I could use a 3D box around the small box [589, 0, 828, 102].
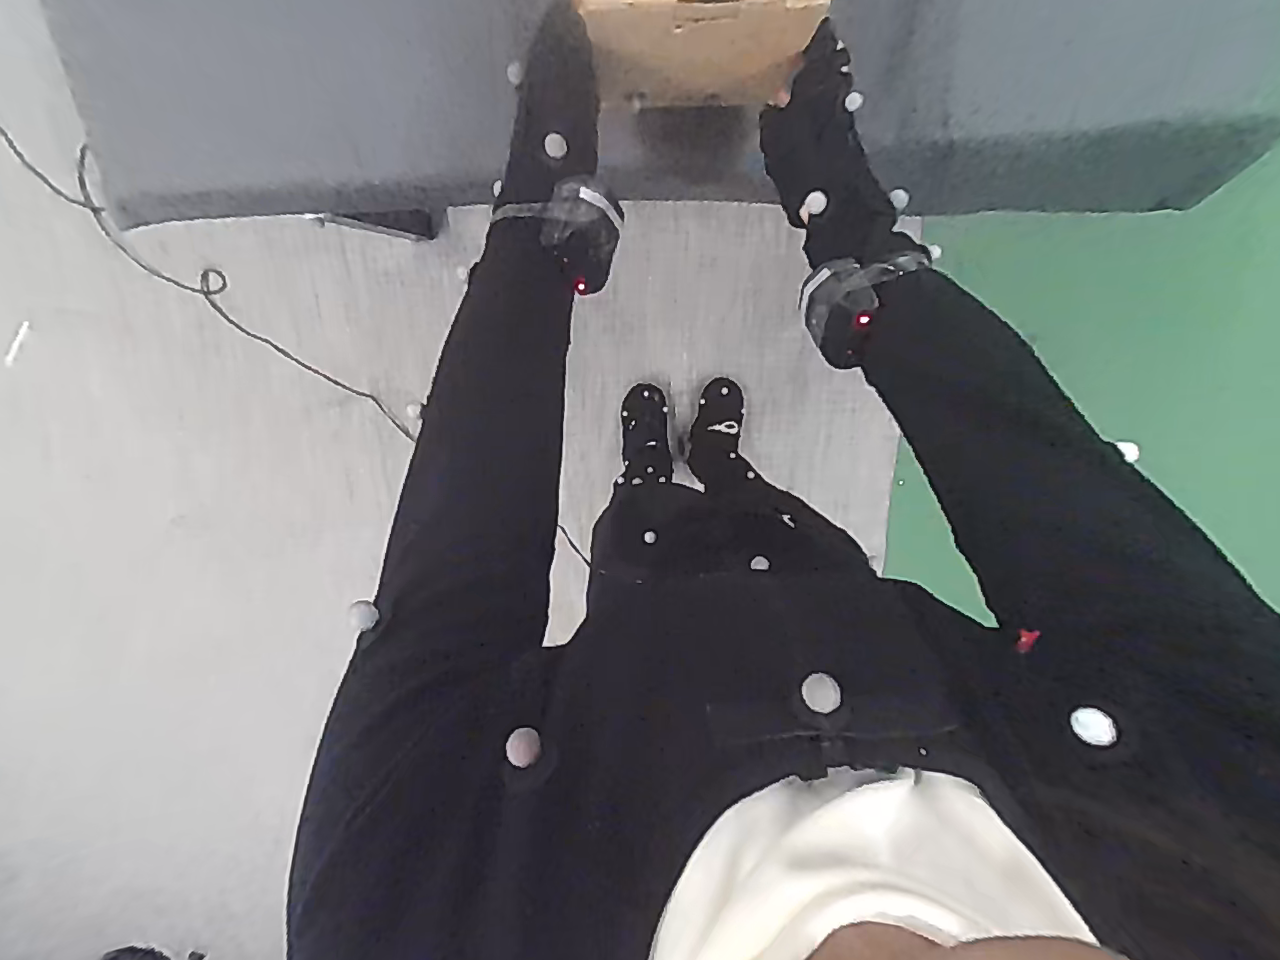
[{"bbox_3d":[0.049,-0.421,0.419,0.168,0.176,0.179,0,105,0],"label":"small box"}]
